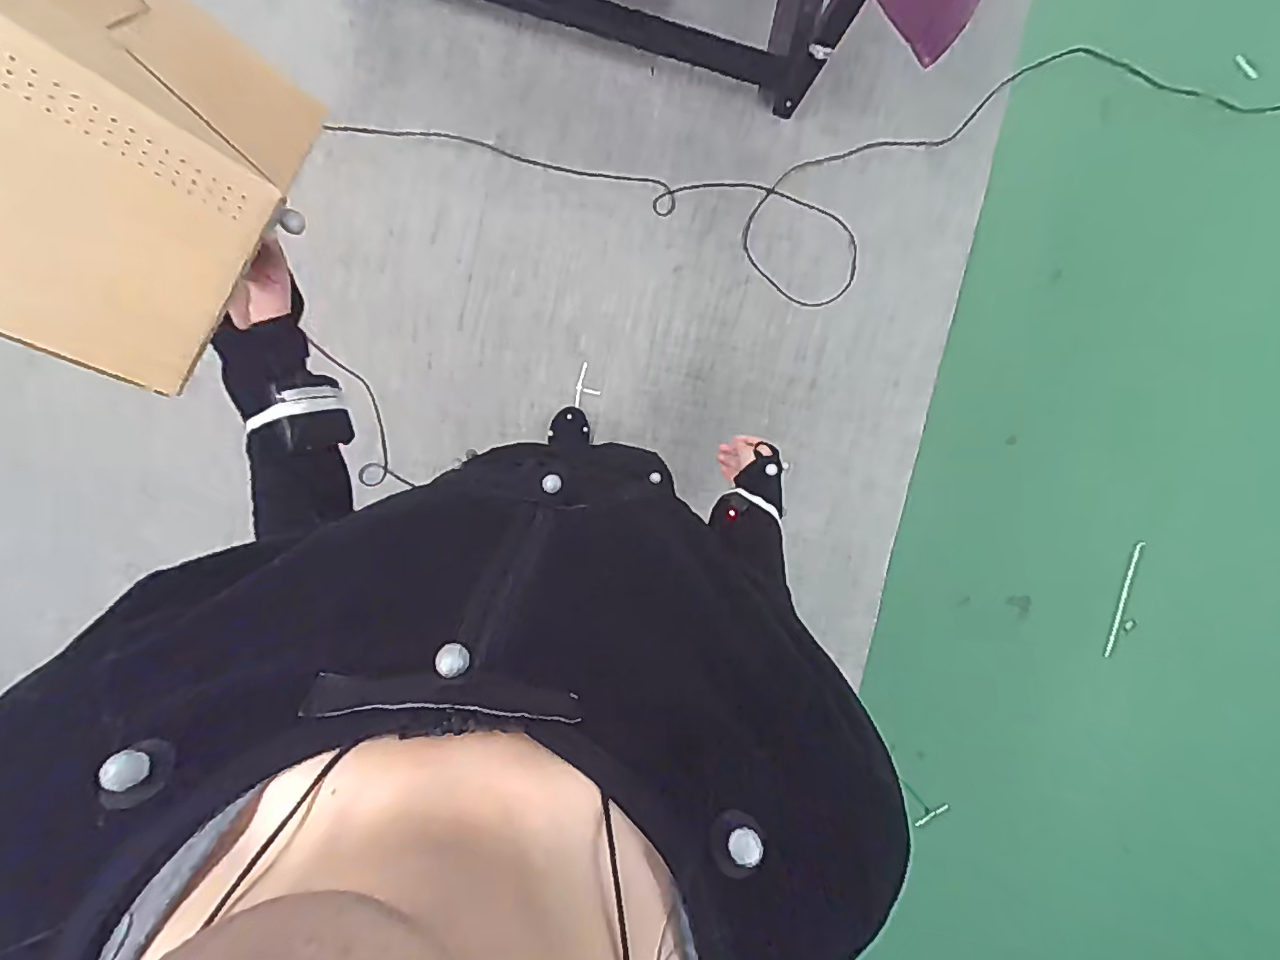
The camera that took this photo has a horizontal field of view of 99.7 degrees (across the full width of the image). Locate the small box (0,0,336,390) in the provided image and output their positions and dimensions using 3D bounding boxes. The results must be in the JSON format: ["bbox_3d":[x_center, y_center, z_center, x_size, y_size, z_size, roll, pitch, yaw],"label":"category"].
[{"bbox_3d":[-0.313,-0.194,0.315,0.176,0.168,0.179,-40,135,26],"label":"small box"}]
